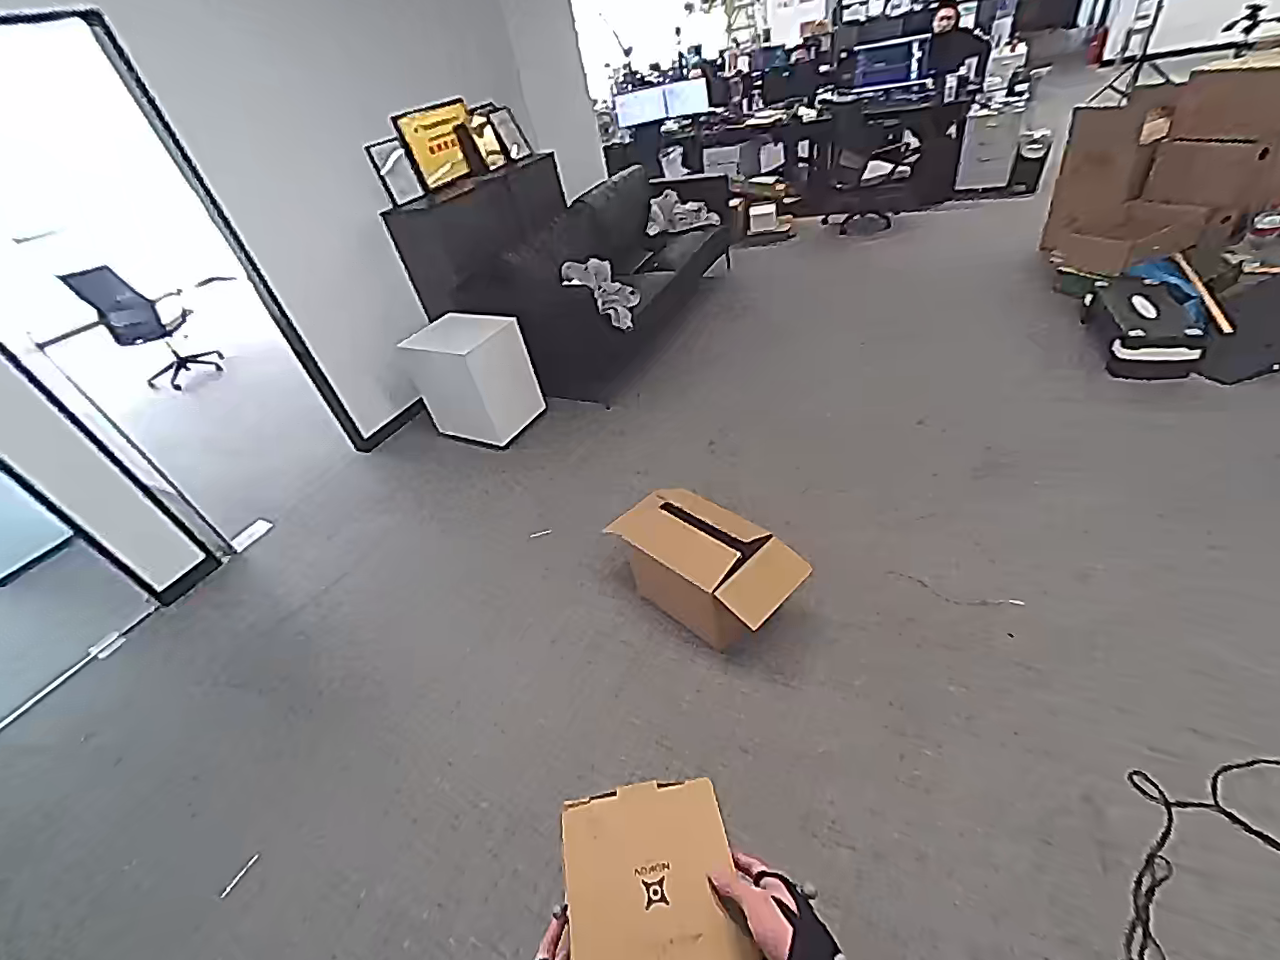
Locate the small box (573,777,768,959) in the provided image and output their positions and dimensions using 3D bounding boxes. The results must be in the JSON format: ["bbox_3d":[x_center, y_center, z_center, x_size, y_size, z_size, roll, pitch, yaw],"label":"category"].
[{"bbox_3d":[0.016,0.436,0.553,0.168,0.176,0.179,-3,41,-8],"label":"small box"}]
